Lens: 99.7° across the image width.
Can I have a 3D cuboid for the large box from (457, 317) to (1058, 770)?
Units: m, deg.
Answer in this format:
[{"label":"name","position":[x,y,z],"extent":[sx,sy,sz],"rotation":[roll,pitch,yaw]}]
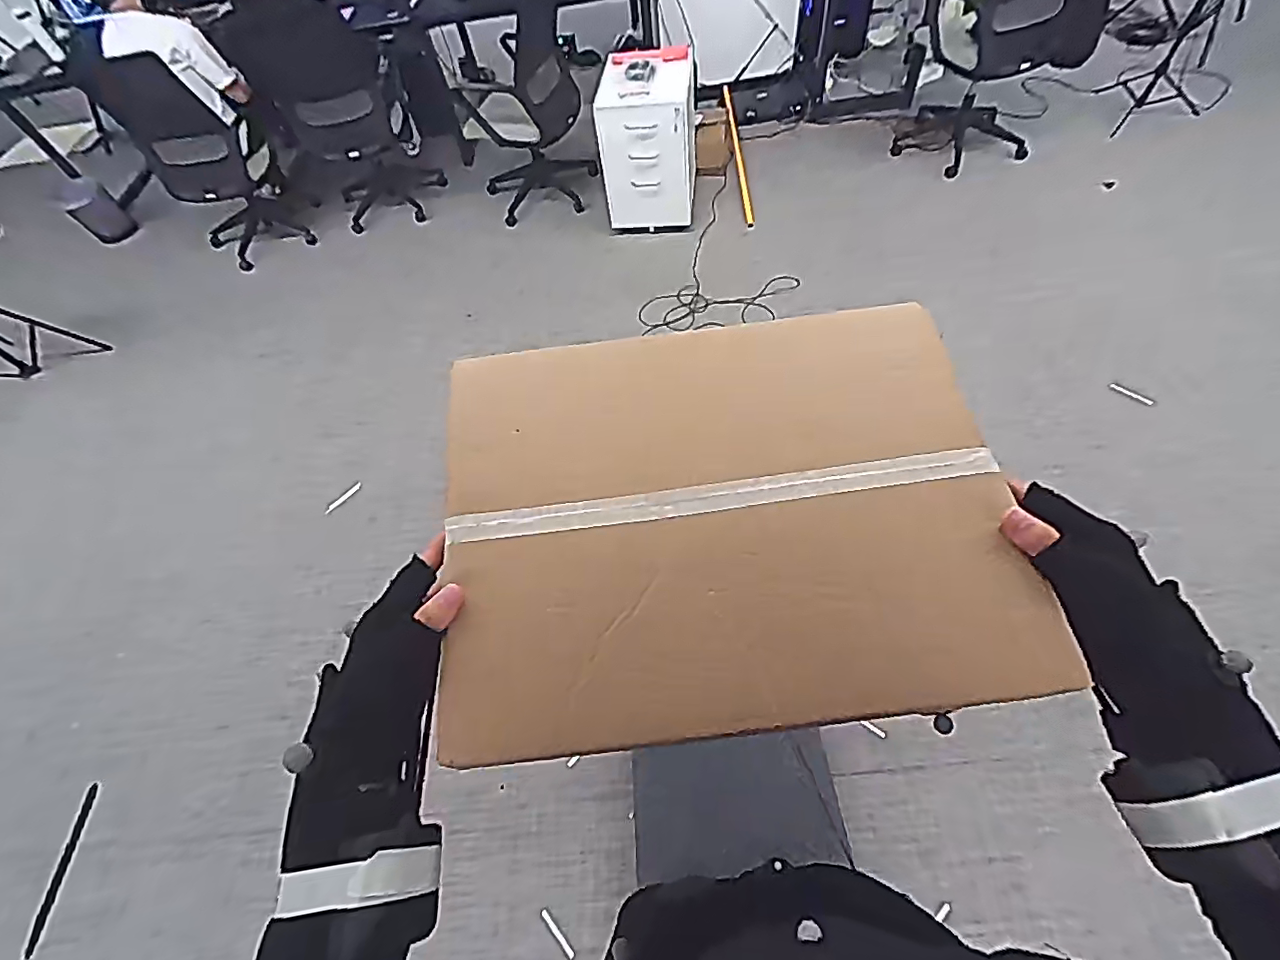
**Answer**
[{"label":"large box","position":[0.070,0.083,0.546],"extent":[0.408,0.320,0.320],"rotation":[-8,64,1]}]
